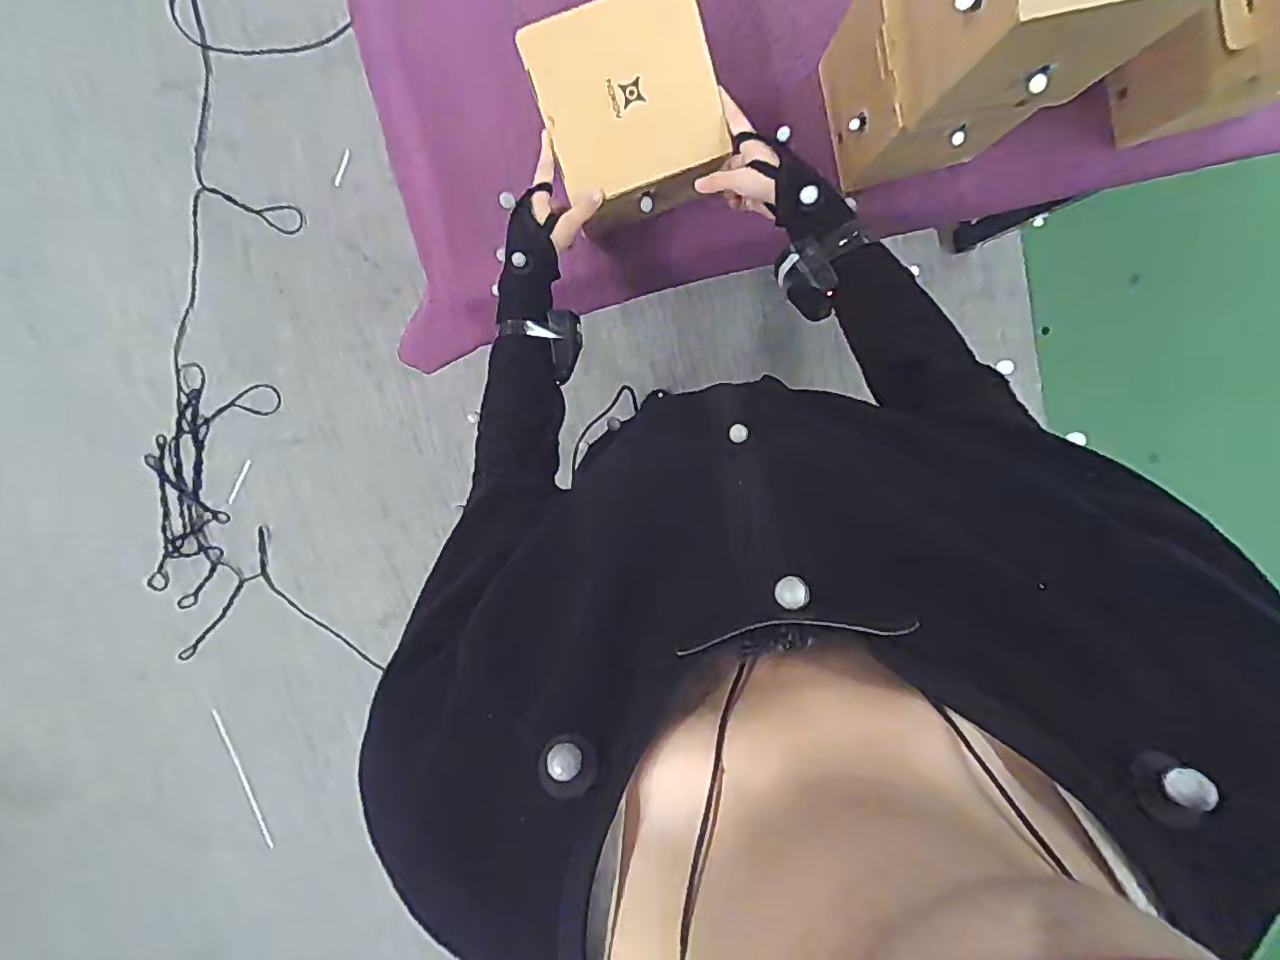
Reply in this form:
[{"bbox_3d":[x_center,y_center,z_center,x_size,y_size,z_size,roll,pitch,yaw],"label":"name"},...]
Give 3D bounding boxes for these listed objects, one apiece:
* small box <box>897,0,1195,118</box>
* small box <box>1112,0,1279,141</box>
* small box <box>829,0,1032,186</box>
[{"bbox_3d":[0.342,-0.447,0.467,0.168,0.176,0.179,-10,97,1],"label":"small box"},{"bbox_3d":[0.691,-0.526,0.619,0.179,0.176,0.168,-15,98,2],"label":"small box"},{"bbox_3d":[0.335,-0.472,0.629,0.179,0.176,0.168,-13,97,1],"label":"small box"}]
